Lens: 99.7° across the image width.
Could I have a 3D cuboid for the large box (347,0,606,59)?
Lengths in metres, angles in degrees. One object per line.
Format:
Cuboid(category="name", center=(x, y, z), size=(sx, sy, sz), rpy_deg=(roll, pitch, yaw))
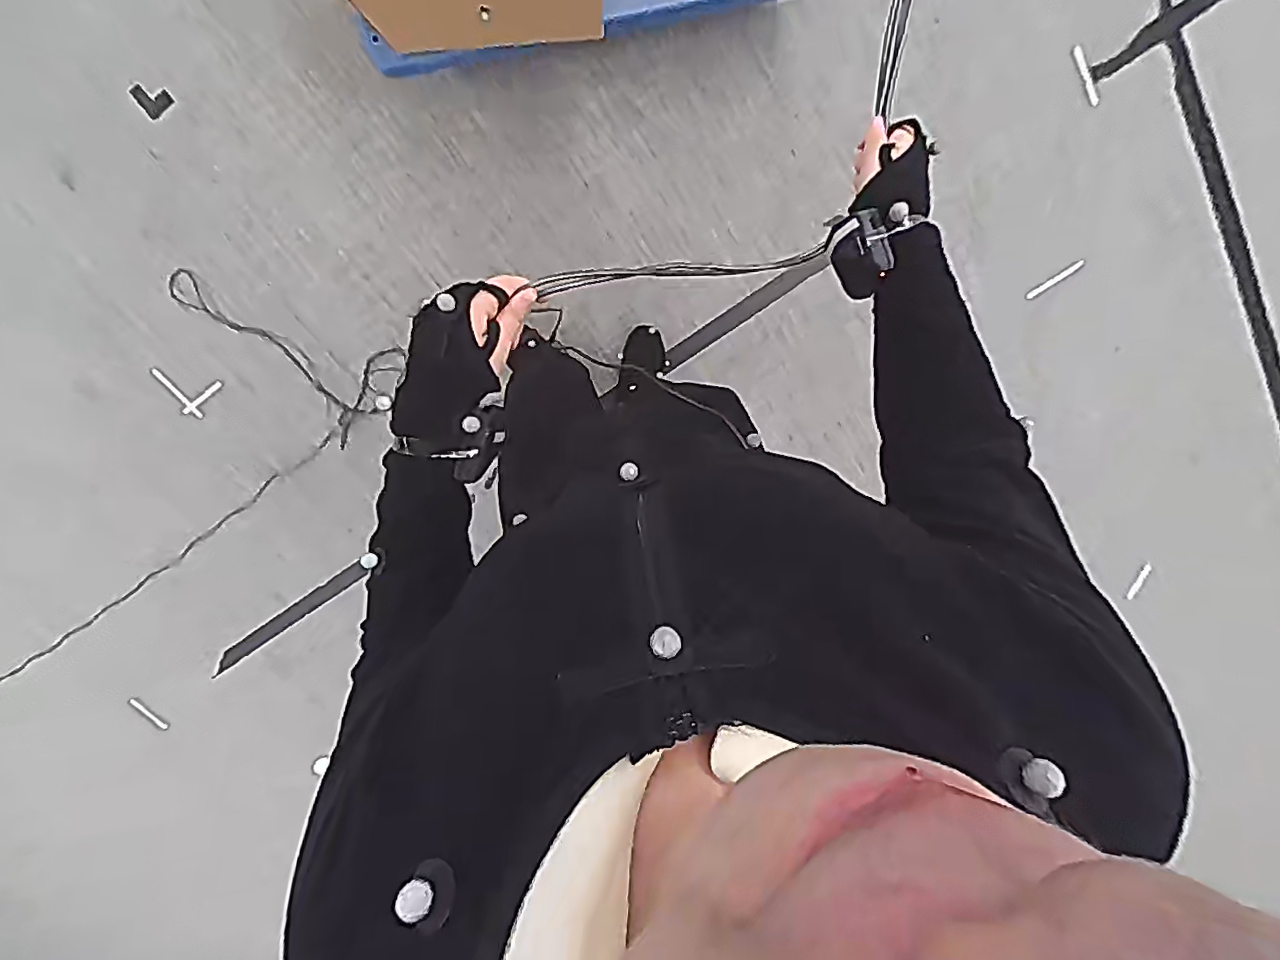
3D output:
Cuboid(category="large box", center=(-0.272, -0.923, 0.852), size=(0.408, 0.320, 0.320), rpy_deg=(-5, 107, 0))
